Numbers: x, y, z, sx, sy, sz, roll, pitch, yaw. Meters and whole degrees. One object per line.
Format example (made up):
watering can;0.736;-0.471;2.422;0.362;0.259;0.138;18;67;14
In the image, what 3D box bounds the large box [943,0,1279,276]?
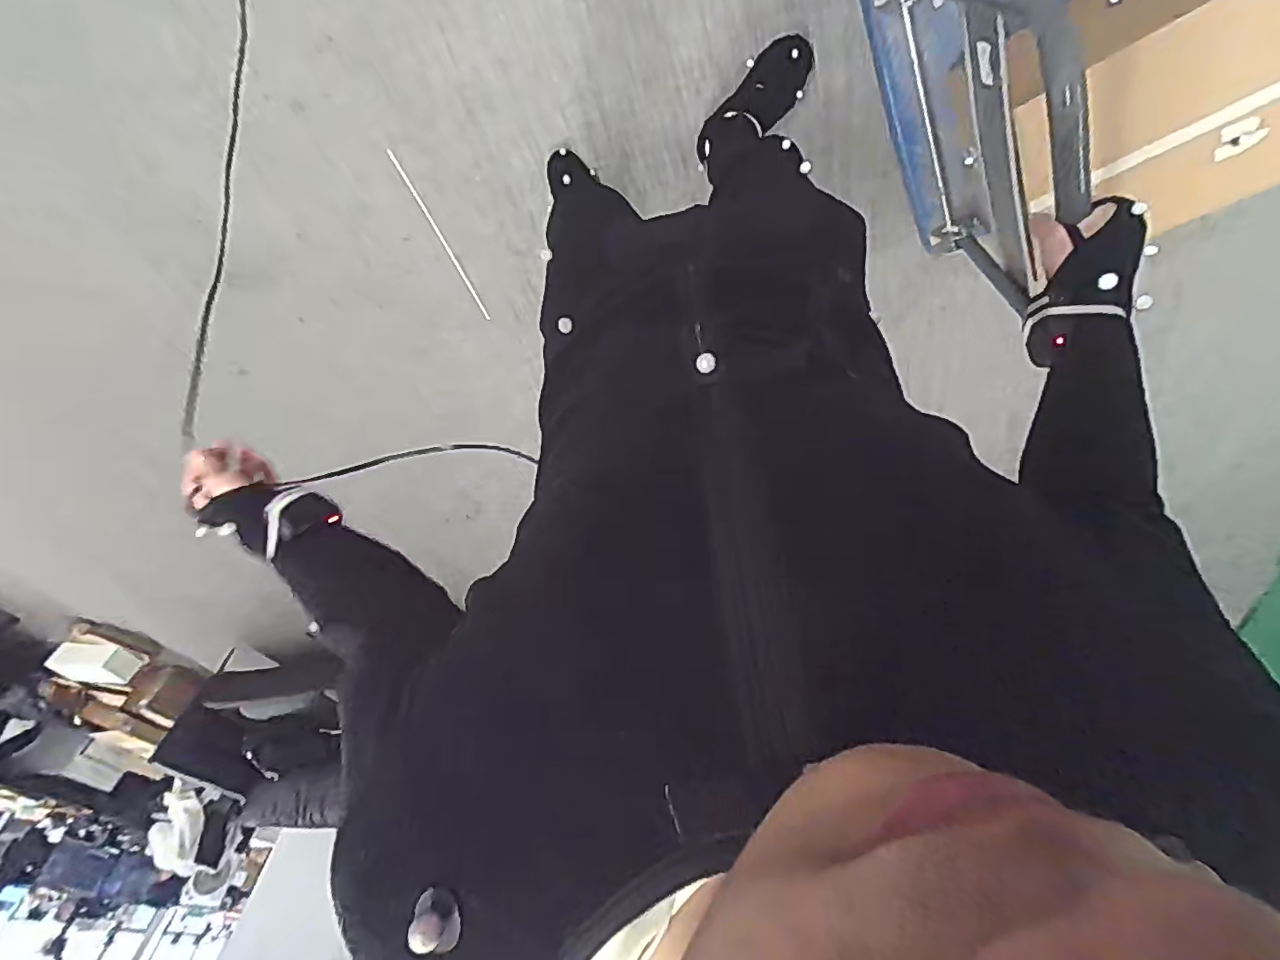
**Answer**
large box;0.798;-0.629;0.904;0.408;0.320;0.320;-22;129;25
